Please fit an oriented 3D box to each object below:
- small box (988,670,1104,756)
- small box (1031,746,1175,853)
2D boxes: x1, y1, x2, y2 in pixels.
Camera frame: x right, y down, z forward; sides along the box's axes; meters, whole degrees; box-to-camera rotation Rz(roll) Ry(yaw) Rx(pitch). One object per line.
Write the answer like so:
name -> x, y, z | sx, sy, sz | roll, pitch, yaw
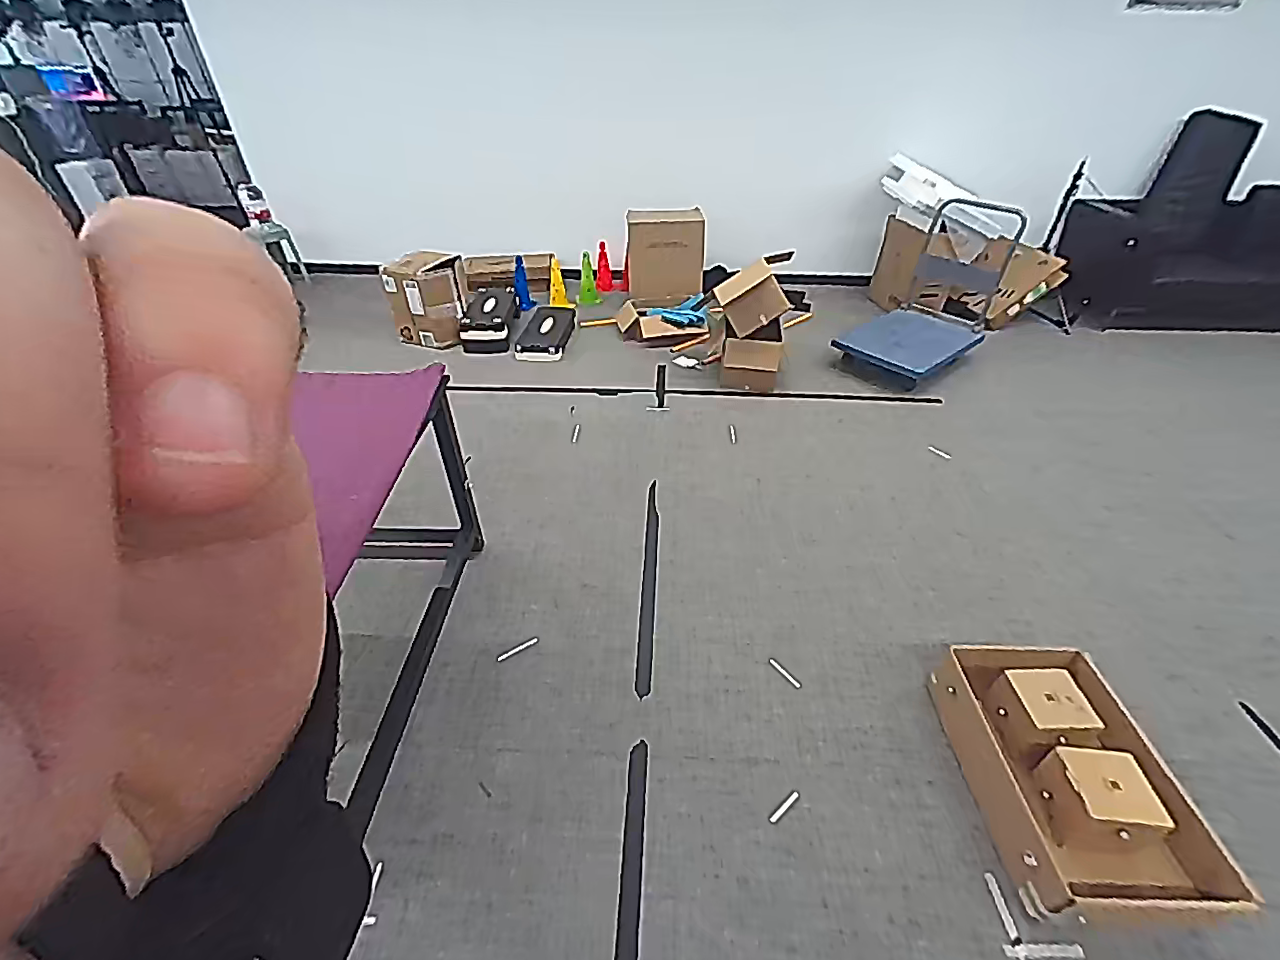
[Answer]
small box -> 1.089, 0.638, 1.476 | 0.179, 0.176, 0.168 | 0, 40, -1
small box -> 1.104, 0.774, 1.307 | 0.179, 0.176, 0.168 | 4, 38, 5
